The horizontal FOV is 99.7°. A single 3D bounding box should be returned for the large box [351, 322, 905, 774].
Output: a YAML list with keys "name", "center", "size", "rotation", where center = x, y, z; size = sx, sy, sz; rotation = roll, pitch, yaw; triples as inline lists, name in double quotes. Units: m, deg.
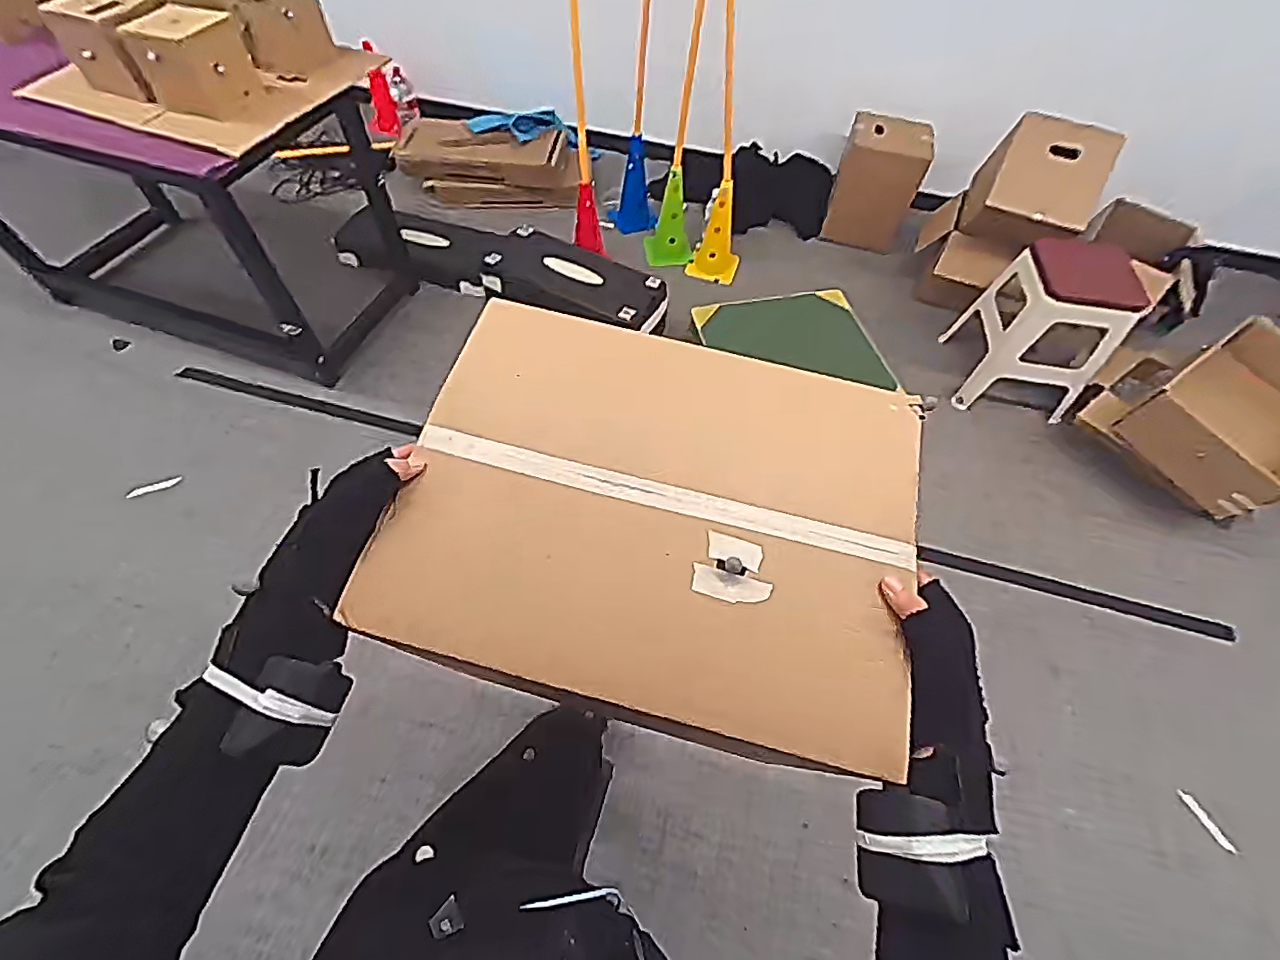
- name: "large box"
  center: [0.007, 0.088, 0.577]
  size: [0.408, 0.320, 0.320]
  rotation: [14, 65, 3]
